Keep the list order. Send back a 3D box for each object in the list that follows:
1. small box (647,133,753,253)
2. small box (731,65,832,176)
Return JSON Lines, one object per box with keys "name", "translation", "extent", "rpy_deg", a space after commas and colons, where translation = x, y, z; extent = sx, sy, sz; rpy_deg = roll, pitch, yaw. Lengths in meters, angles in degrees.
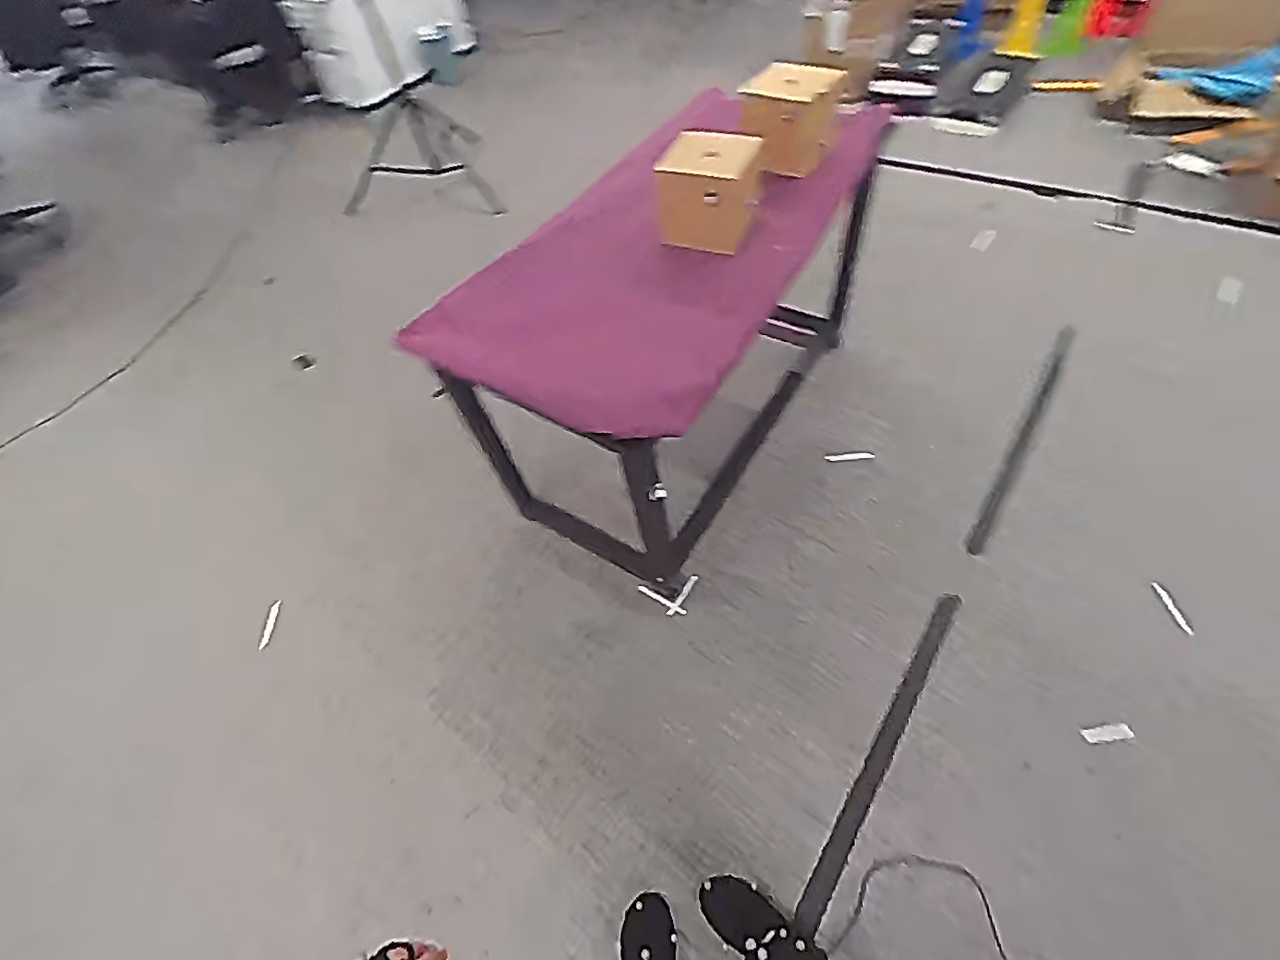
{"name": "small box", "translation": [0.135, -0.622, 1.178], "extent": [0.179, 0.176, 0.168], "rpy_deg": [18, 61, 20]}
{"name": "small box", "translation": [0.337, -0.869, 1.311], "extent": [0.179, 0.176, 0.168], "rpy_deg": [30, 66, 26]}
